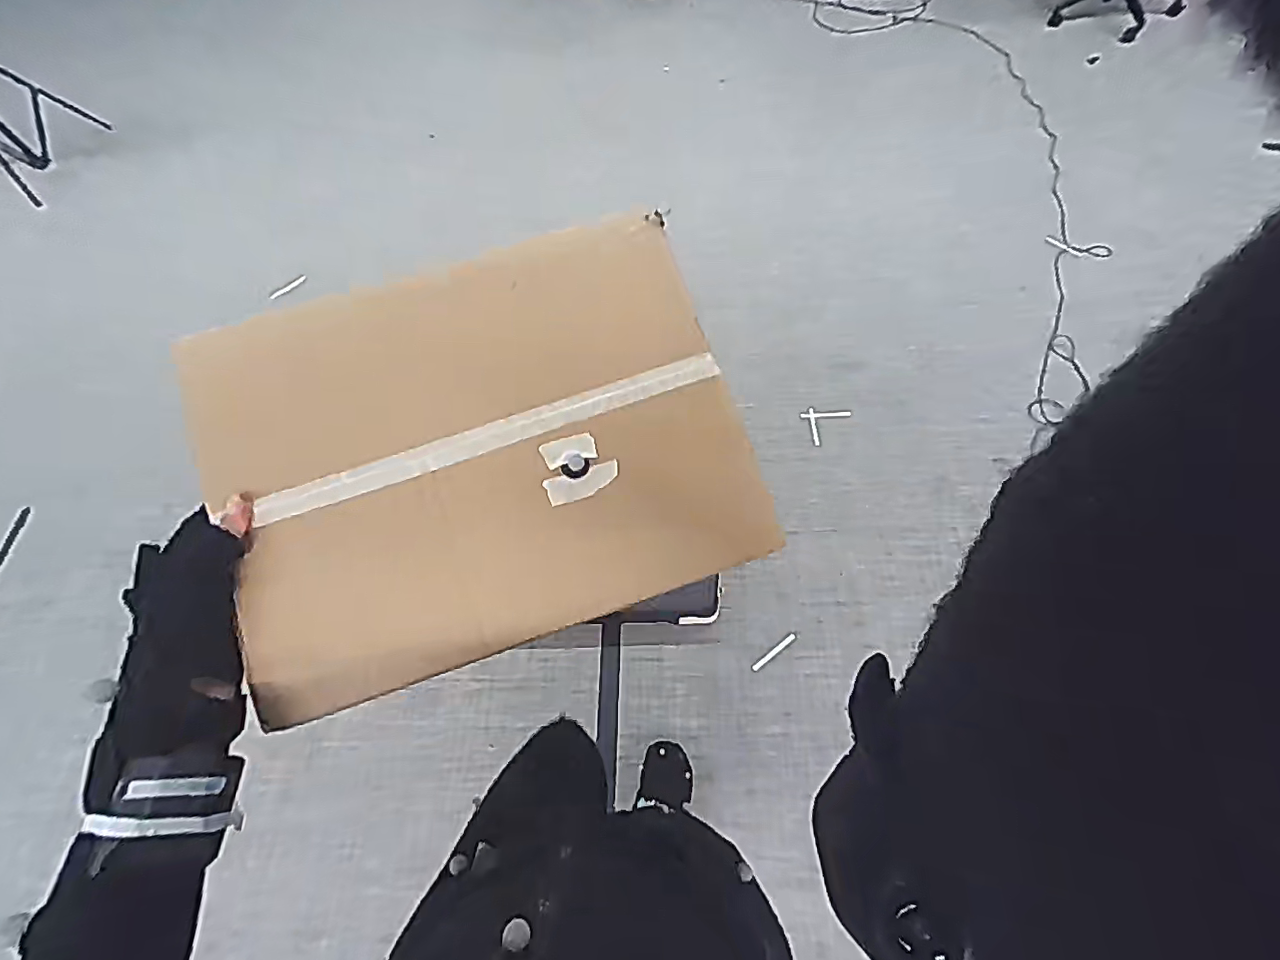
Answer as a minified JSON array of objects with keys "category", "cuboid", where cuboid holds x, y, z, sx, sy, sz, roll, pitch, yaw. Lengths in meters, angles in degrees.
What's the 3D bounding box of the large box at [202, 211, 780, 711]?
[{"category":"large box","cuboid":[-0.130,-0.007,0.582,0.408,0.320,0.320,-19,82,-7]}]
